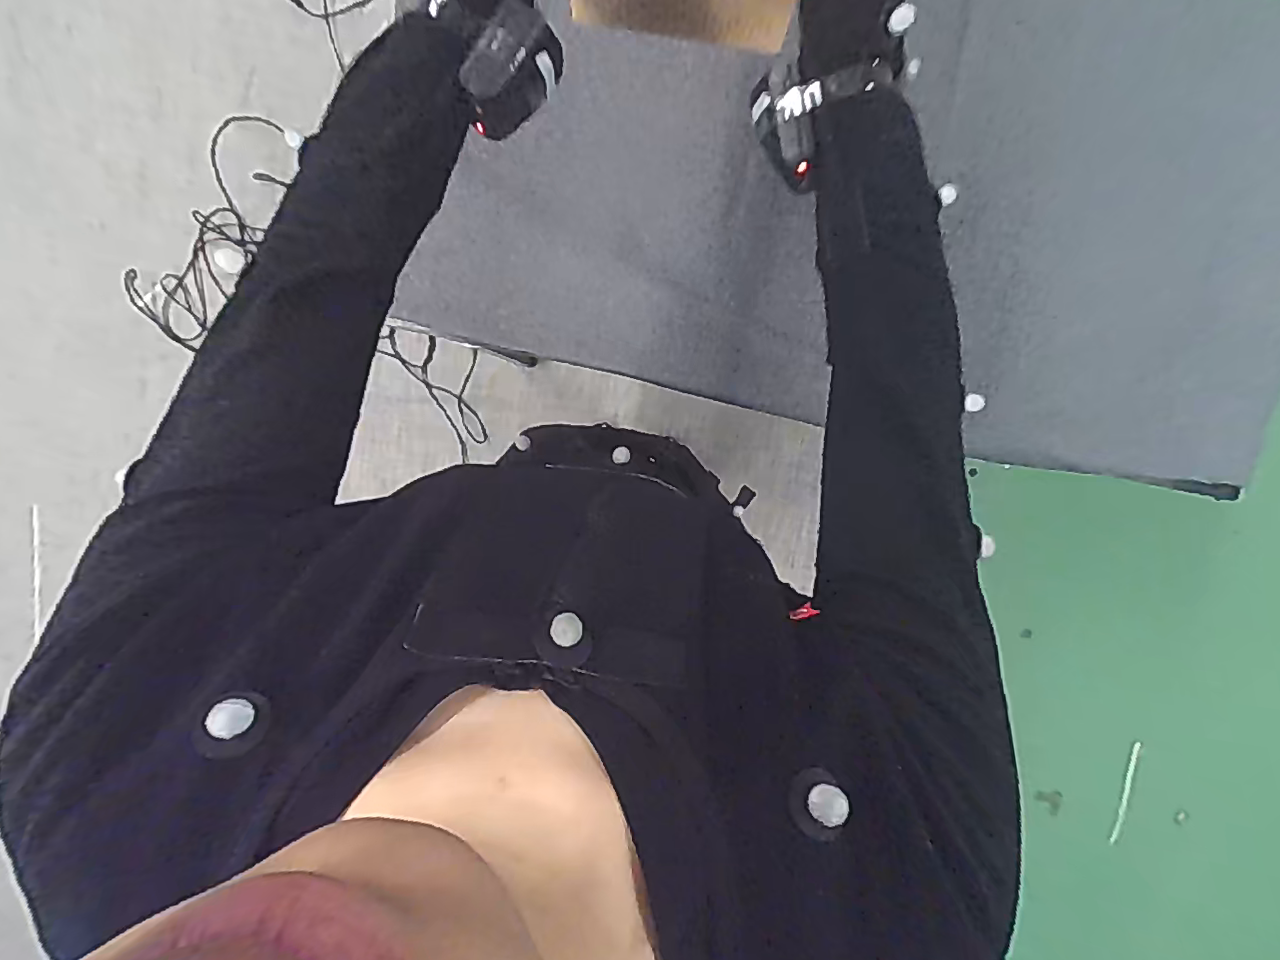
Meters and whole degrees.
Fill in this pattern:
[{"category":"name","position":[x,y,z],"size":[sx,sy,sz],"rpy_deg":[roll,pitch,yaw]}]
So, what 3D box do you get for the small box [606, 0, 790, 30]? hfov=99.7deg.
[{"category":"small box","position":[0.048,-0.464,0.373],"size":[0.179,0.176,0.168],"rpy_deg":[8,86,-2]}]
